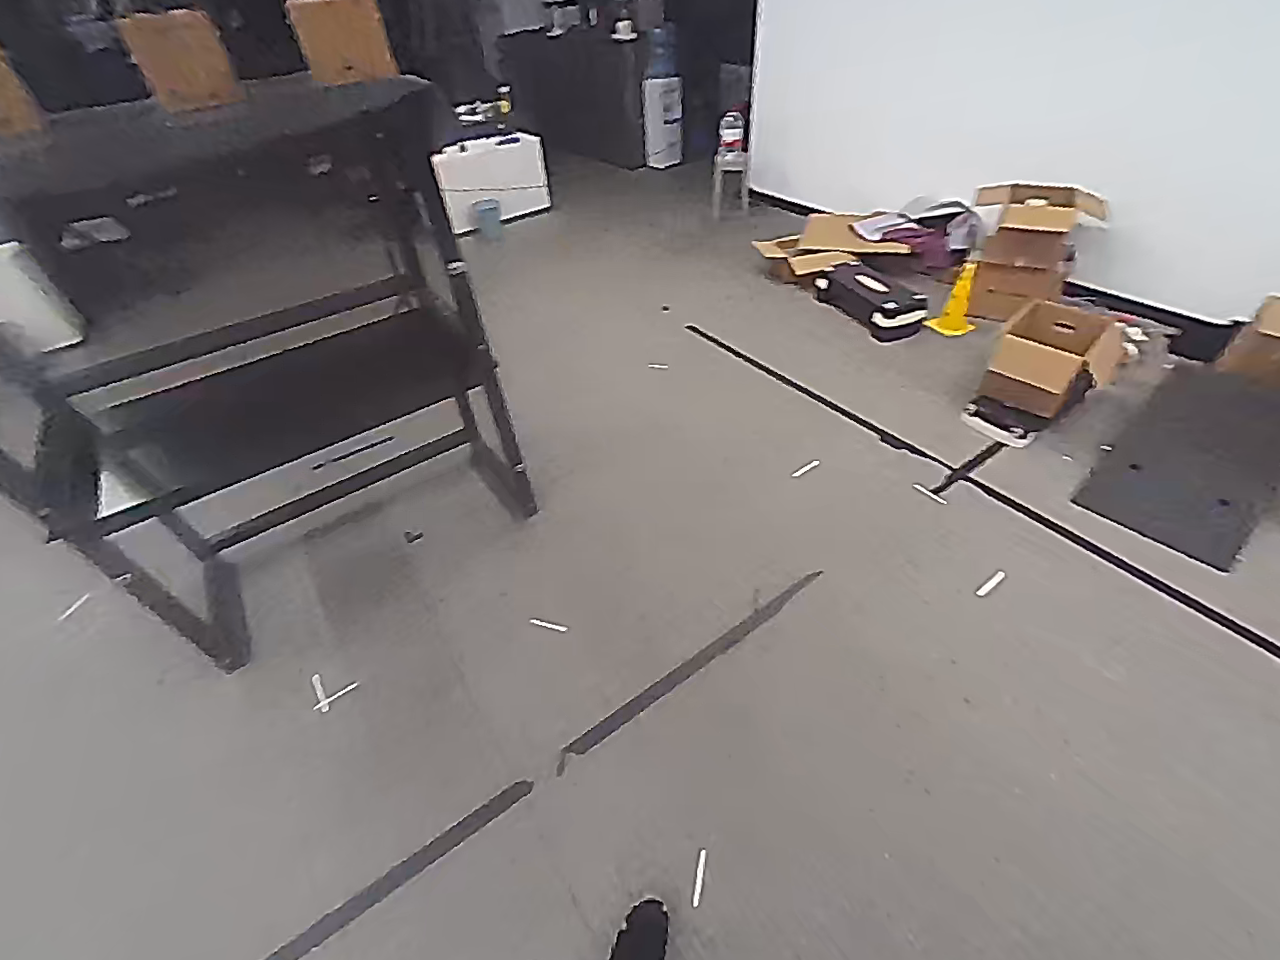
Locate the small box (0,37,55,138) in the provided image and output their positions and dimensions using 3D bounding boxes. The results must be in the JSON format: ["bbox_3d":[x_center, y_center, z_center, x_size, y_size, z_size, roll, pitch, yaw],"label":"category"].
[{"bbox_3d":[-1.391,-0.825,1.131,0.168,0.176,0.179,-31,50,-24],"label":"small box"}]

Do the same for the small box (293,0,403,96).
[{"bbox_3d":[-0.679,-1.016,1.264,0.168,0.176,0.179,-25,47,-19],"label":"small box"}]

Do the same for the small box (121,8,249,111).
[{"bbox_3d":[-1.050,-0.974,1.256,0.168,0.176,0.179,-30,48,-24],"label":"small box"}]
